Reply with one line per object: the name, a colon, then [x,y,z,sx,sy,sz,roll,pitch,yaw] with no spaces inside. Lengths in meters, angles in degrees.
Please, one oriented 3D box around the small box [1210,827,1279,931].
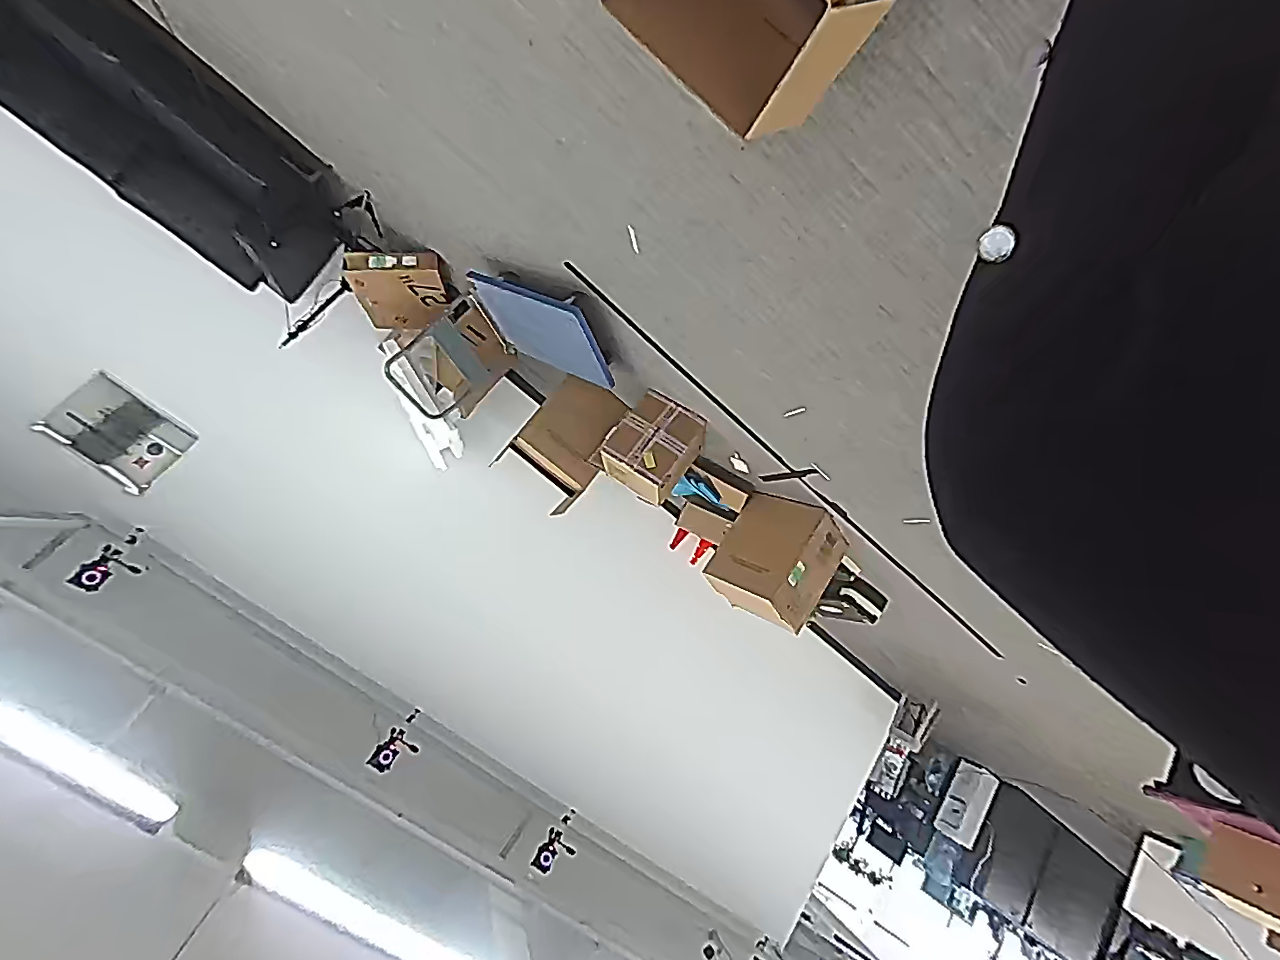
small box: [1.587,1.011,1.340,0.168,0.176,0.179,39,164,-14]
